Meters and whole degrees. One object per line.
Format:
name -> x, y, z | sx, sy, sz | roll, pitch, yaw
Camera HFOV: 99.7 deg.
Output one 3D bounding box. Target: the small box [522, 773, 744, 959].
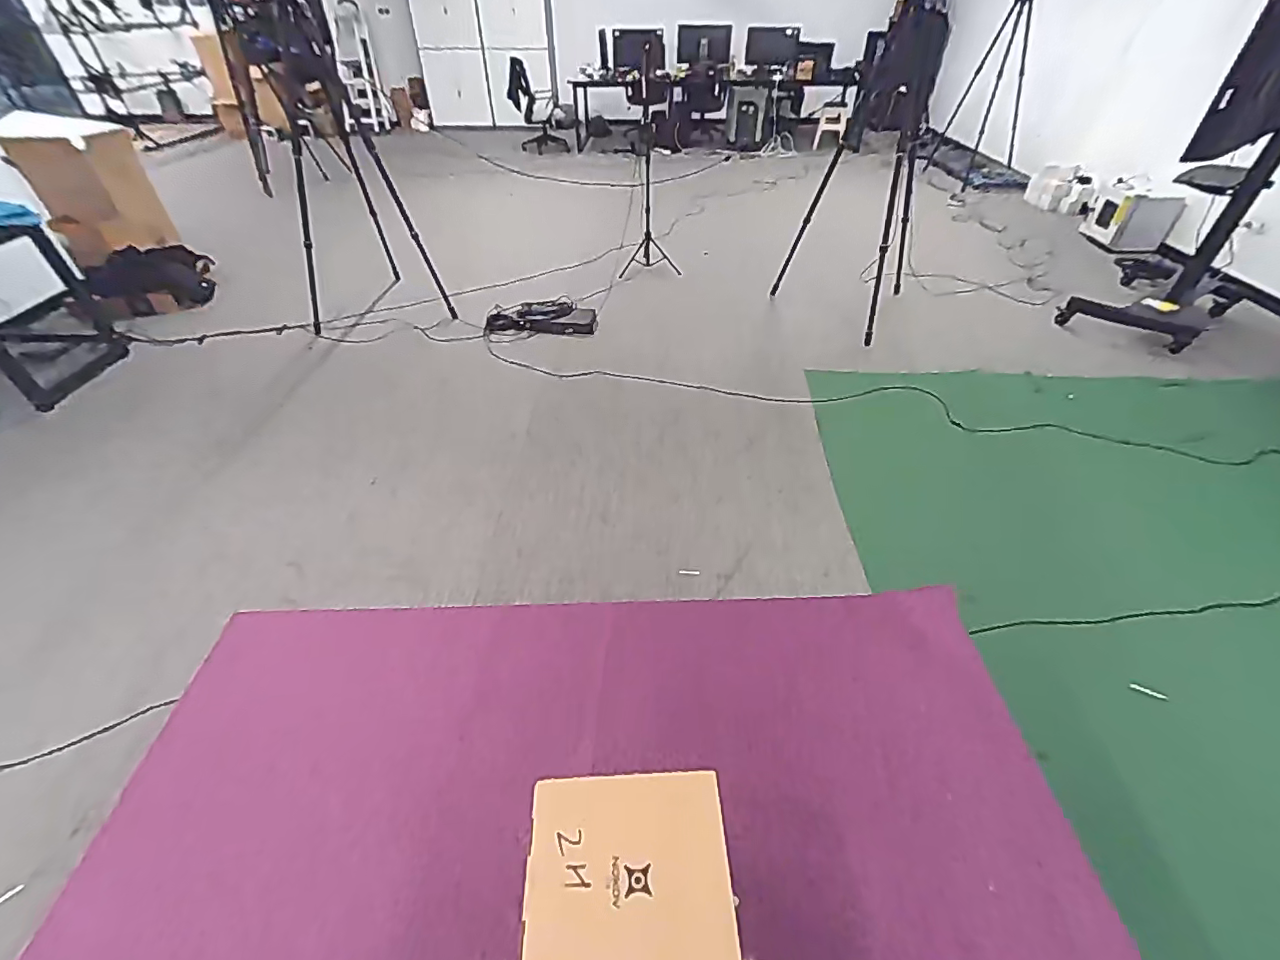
small box -> -0.006, 0.396, 0.512 | 0.179, 0.176, 0.168 | -3, 43, -1
